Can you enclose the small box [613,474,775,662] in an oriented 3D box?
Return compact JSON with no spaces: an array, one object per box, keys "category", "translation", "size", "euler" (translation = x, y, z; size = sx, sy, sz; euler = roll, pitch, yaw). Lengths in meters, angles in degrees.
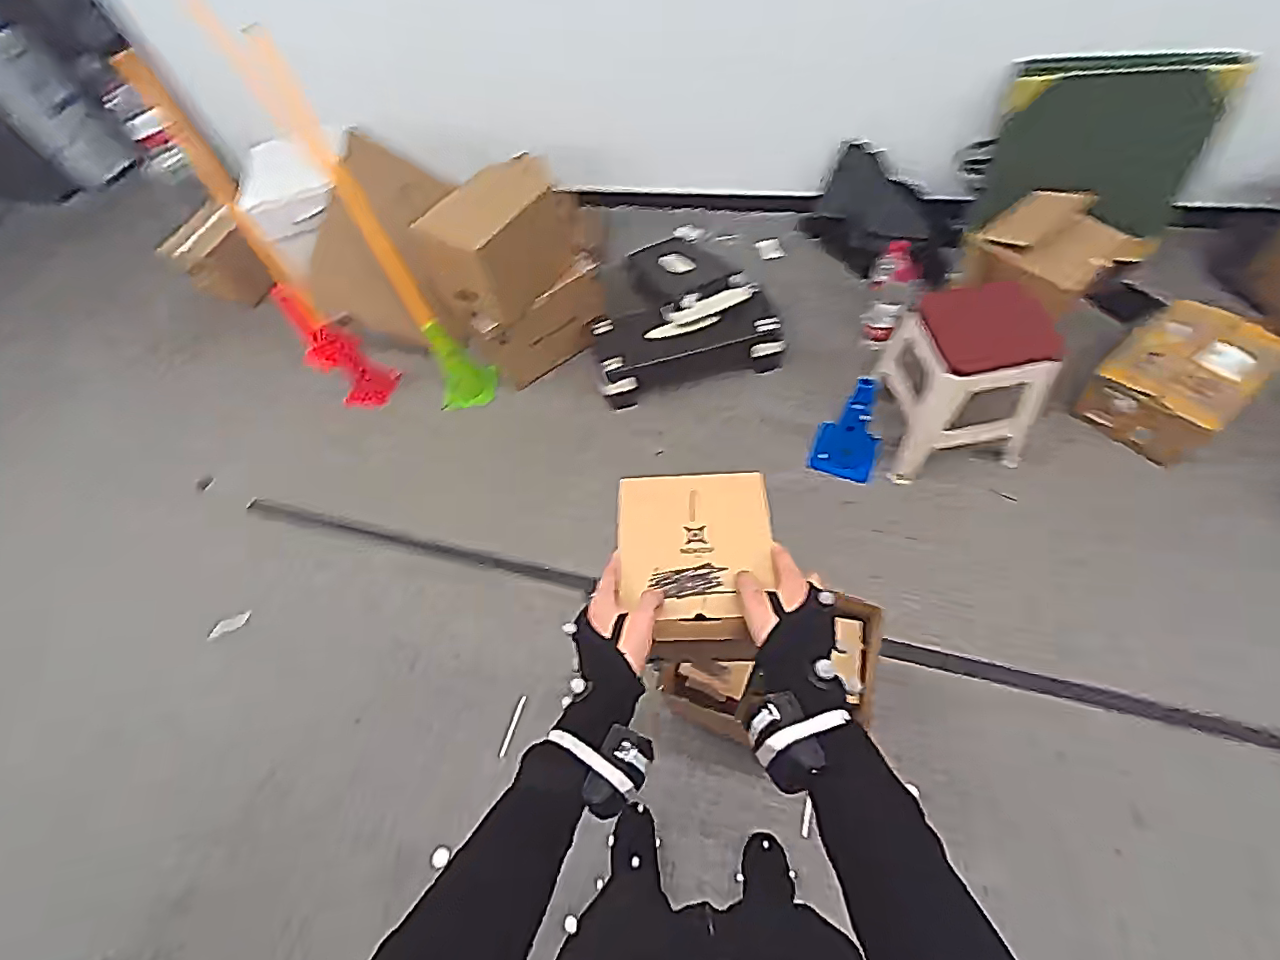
[{"category":"small box","translation":[0.060,0.114,0.649],"size":[0.168,0.176,0.179],"euler":[-4,57,3]}]
